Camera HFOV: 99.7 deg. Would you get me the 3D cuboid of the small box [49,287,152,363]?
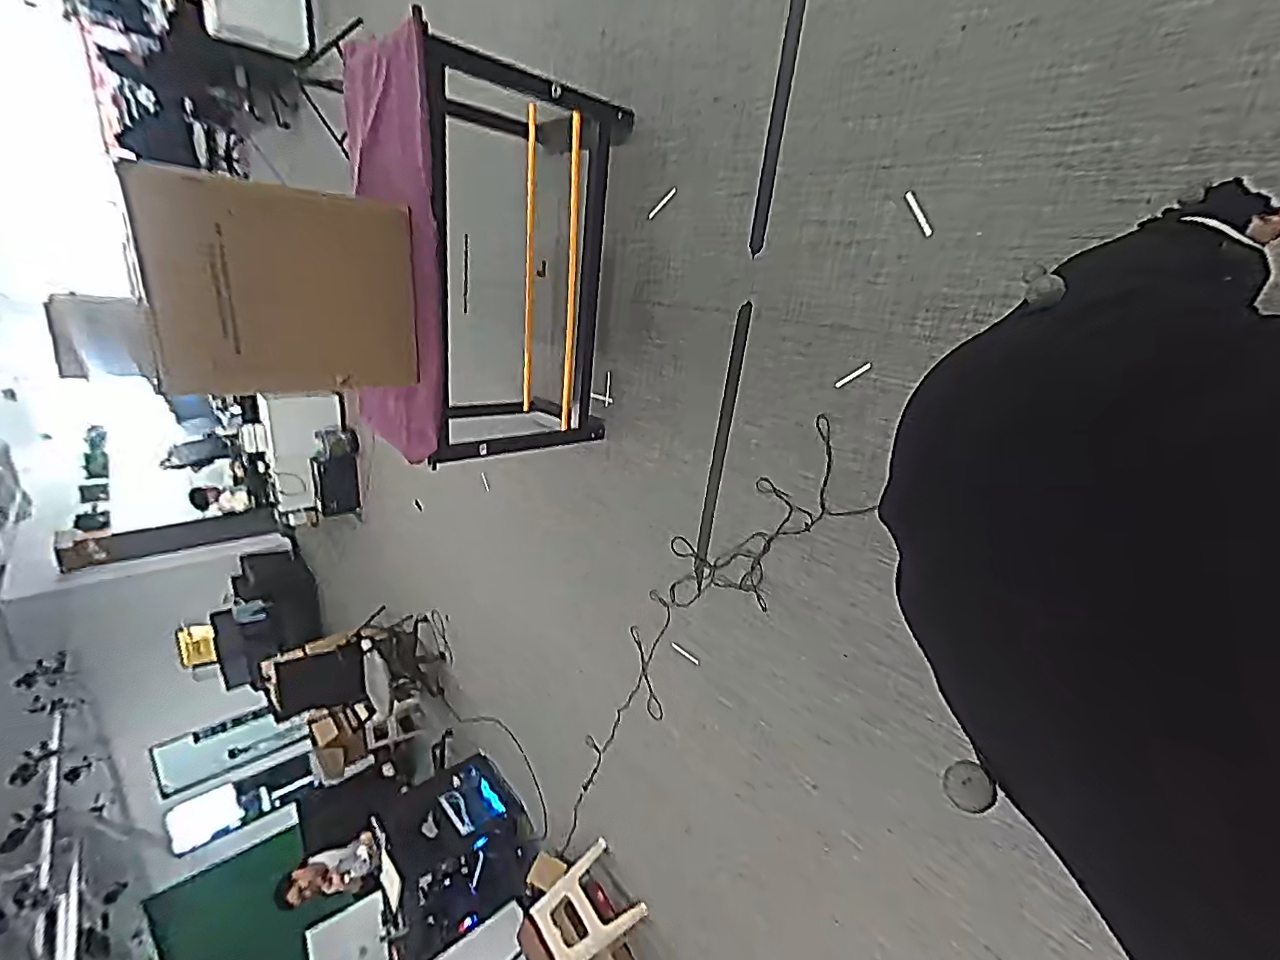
[{"bbox_3d":[-1.409,-0.408,1.421,0.179,0.176,0.168,27,117,42],"label":"small box"}]
